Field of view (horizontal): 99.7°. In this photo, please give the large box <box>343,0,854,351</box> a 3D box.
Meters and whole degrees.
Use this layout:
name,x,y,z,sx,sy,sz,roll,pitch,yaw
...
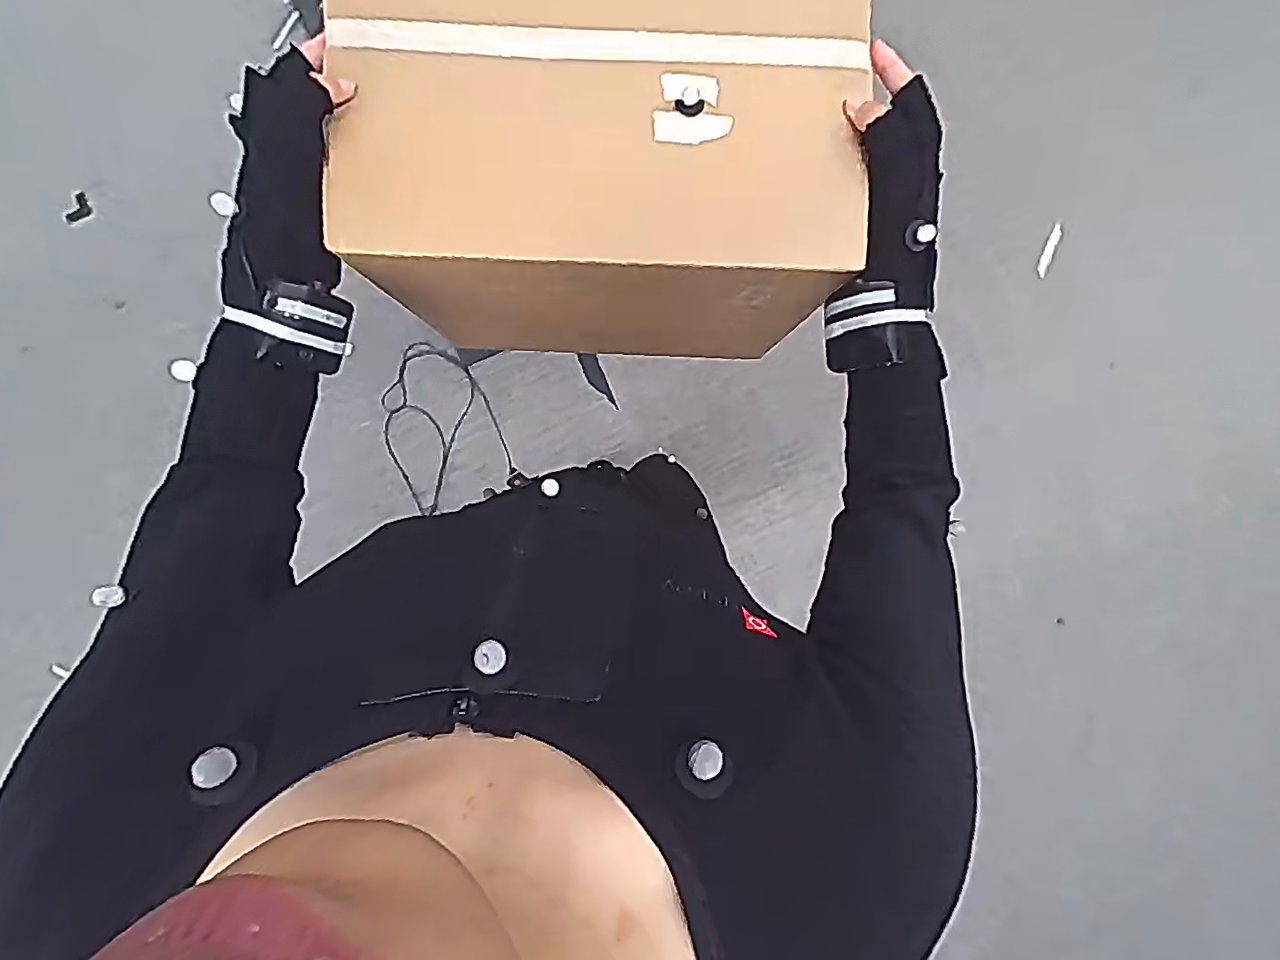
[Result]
name,x,y,z,sx,sy,sz,roll,pitch,yaw
large box,-0.036,-0.326,0.570,0.408,0.320,0.320,1,90,-2
